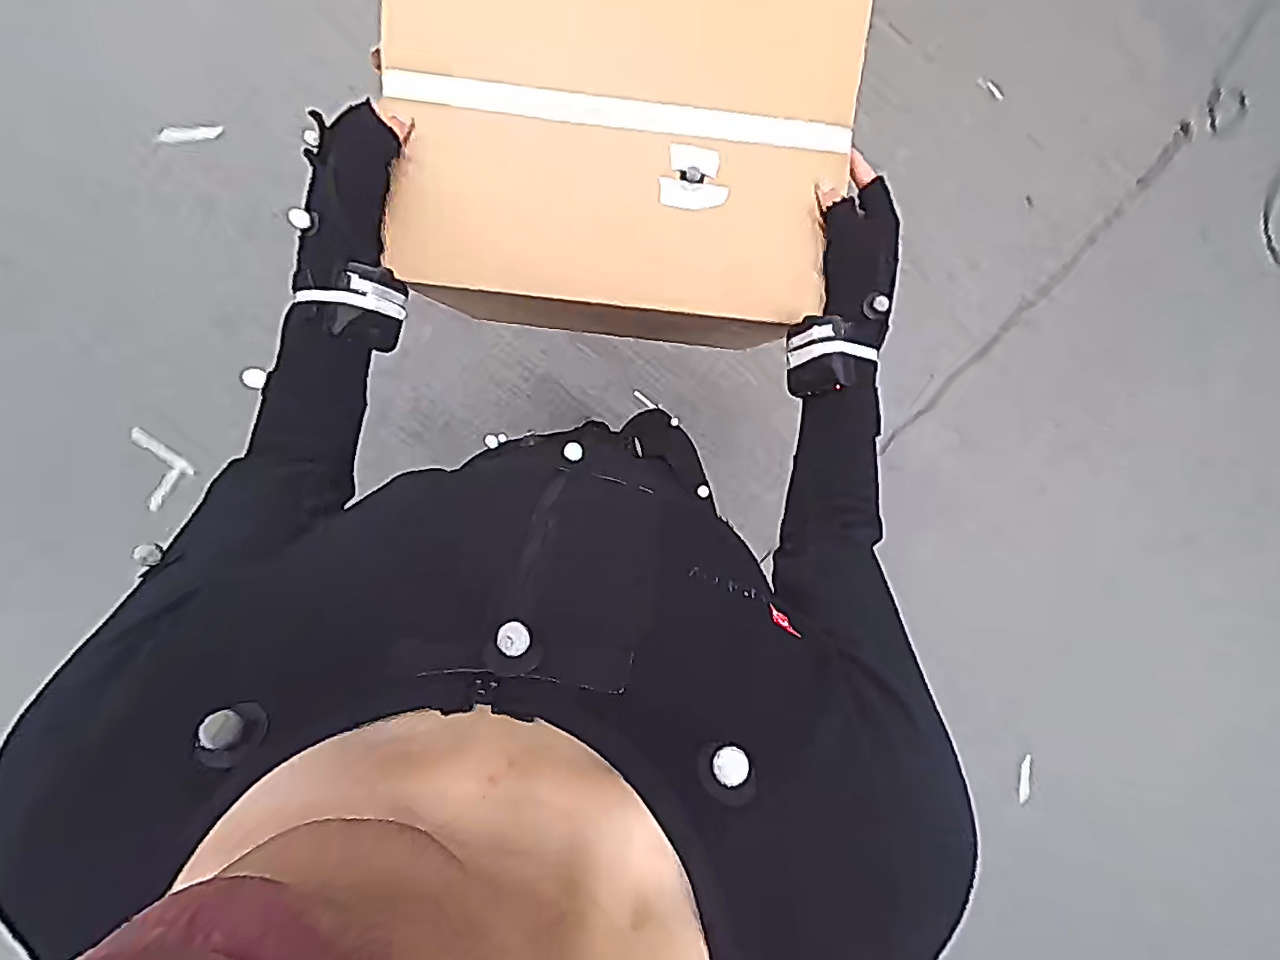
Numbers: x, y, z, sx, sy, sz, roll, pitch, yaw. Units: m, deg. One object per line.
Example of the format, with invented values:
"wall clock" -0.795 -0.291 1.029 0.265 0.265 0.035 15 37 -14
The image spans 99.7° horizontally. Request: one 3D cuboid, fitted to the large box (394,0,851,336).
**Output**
"large box" -0.027 -0.352 0.632 0.408 0.320 0.320 4 100 -4
